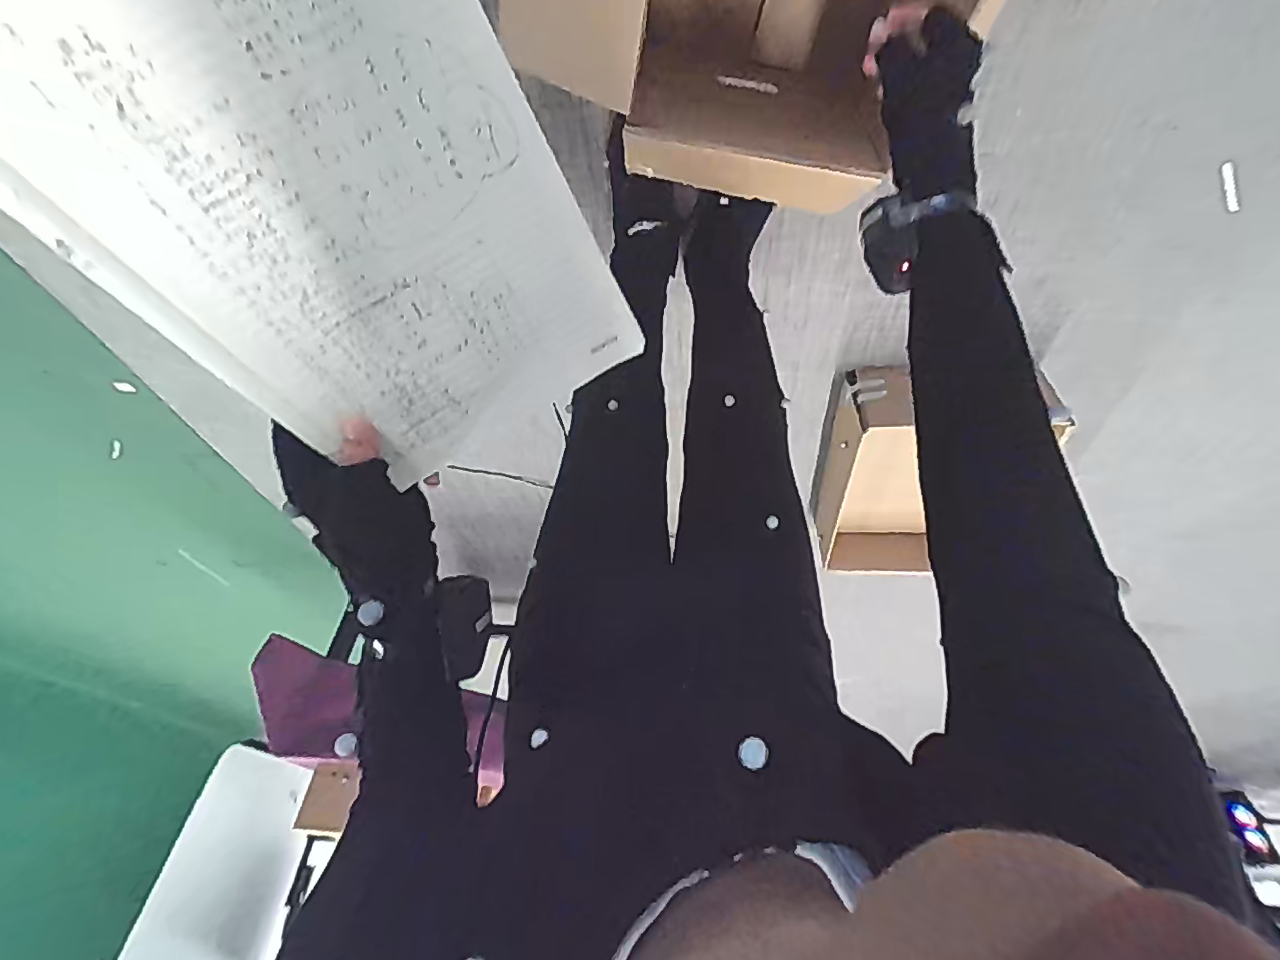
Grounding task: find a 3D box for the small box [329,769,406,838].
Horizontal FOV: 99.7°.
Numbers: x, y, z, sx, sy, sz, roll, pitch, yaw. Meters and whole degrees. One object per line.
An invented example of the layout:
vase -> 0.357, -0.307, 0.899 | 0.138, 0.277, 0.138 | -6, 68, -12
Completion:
small box -> -0.866, 1.053, 1.758 | 0.168, 0.176, 0.179 | 4, 144, 1
